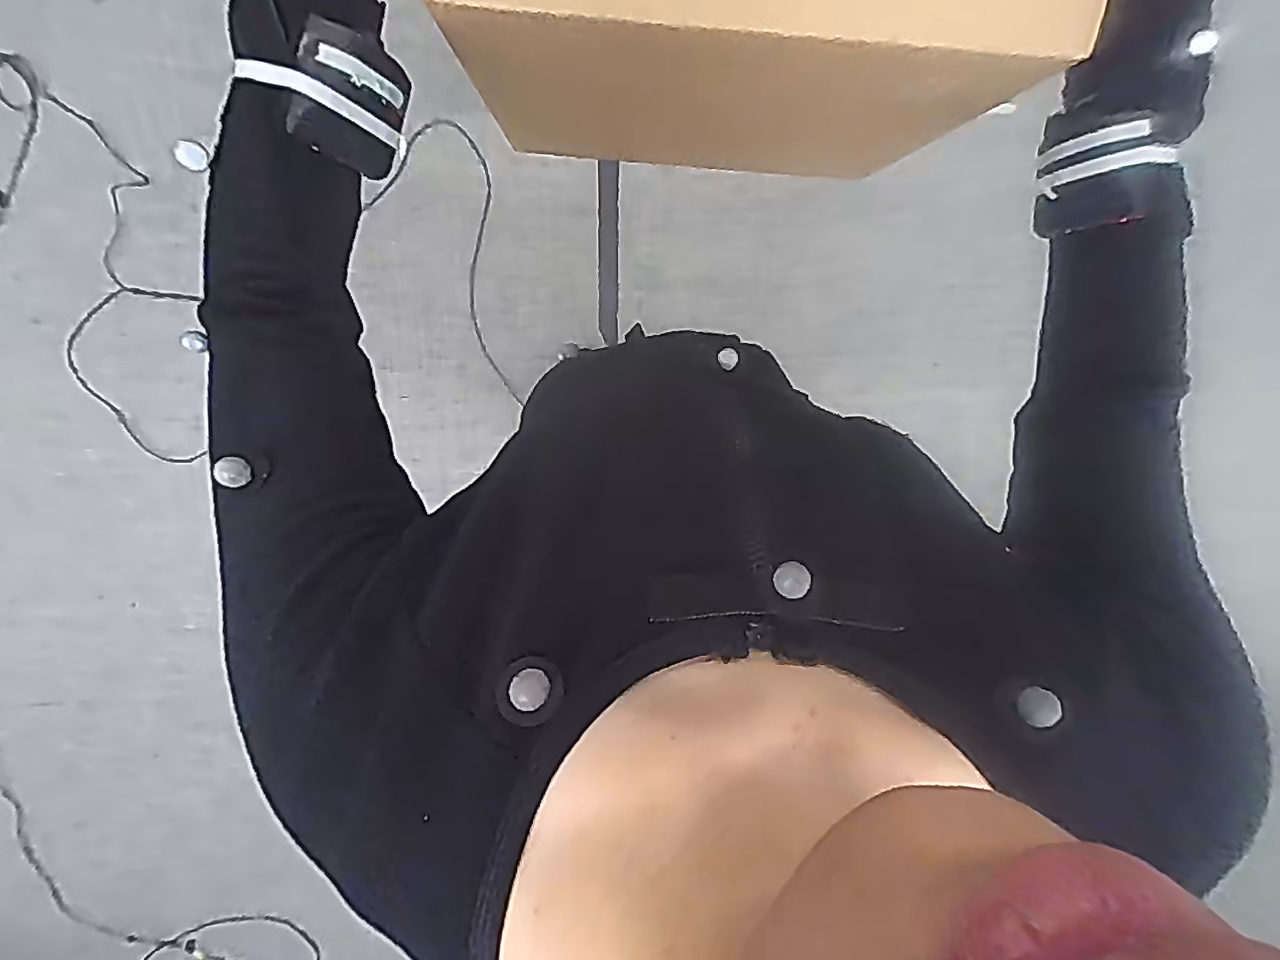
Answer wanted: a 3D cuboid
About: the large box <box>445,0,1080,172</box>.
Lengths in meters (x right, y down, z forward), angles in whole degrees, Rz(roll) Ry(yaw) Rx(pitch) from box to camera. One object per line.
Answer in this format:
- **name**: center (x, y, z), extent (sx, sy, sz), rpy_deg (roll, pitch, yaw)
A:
- **large box**: center (0.073, -0.465, 0.434), extent (0.408, 0.320, 0.320), rpy_deg (2, 107, -4)
